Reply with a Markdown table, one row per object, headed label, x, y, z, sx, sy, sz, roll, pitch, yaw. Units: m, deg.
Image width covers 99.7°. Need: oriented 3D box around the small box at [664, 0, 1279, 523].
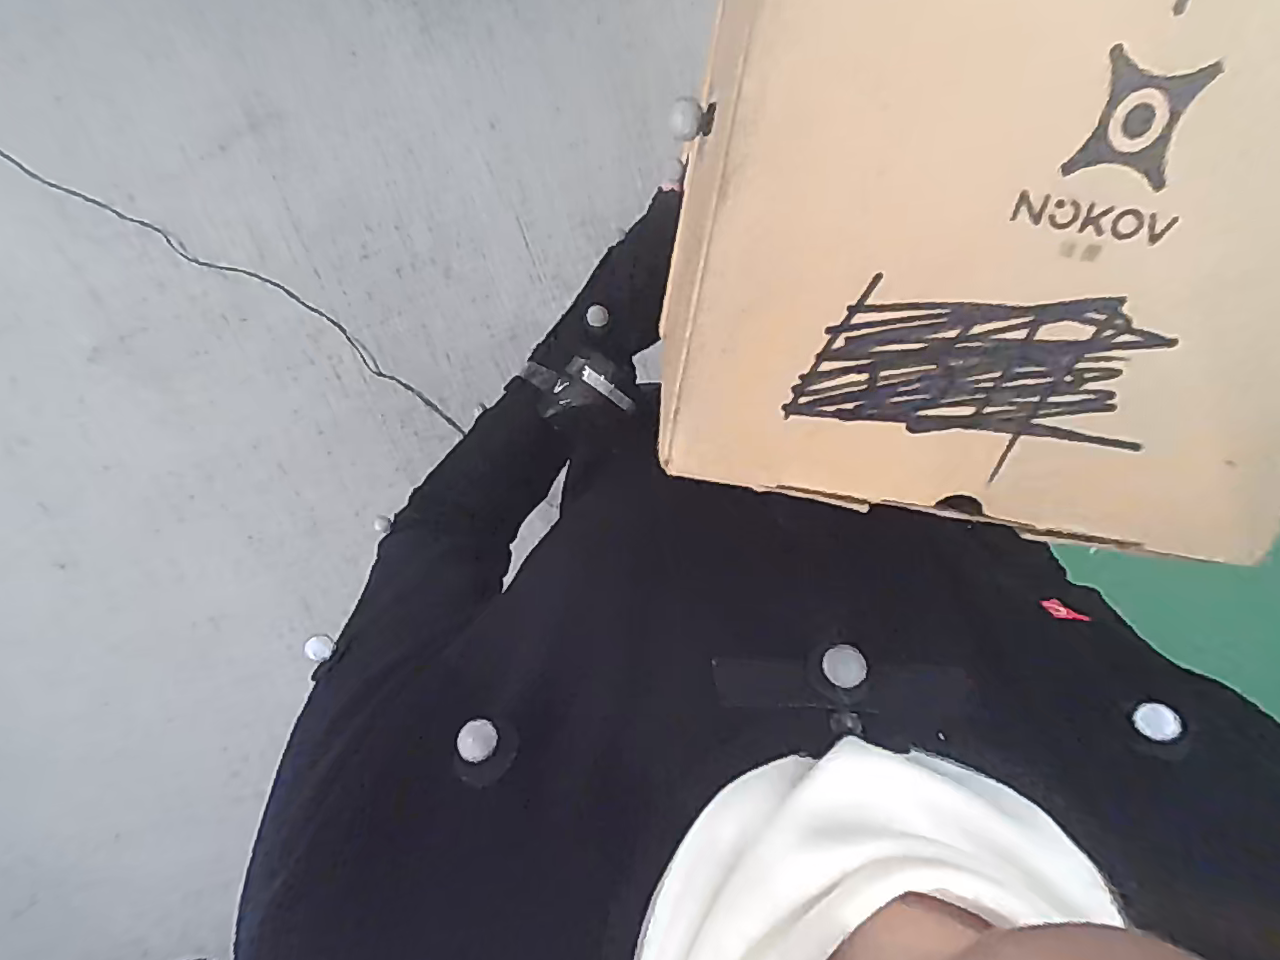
| label | x | y | z | sx | sy | sz | roll | pitch | yaw |
| --- | --- | --- | --- | --- | --- | --- | --- | --- | --- |
| small box | 0.105 | -0.109 | 0.194 | 0.168 | 0.176 | 0.179 | 9 | 113 | -1 |
